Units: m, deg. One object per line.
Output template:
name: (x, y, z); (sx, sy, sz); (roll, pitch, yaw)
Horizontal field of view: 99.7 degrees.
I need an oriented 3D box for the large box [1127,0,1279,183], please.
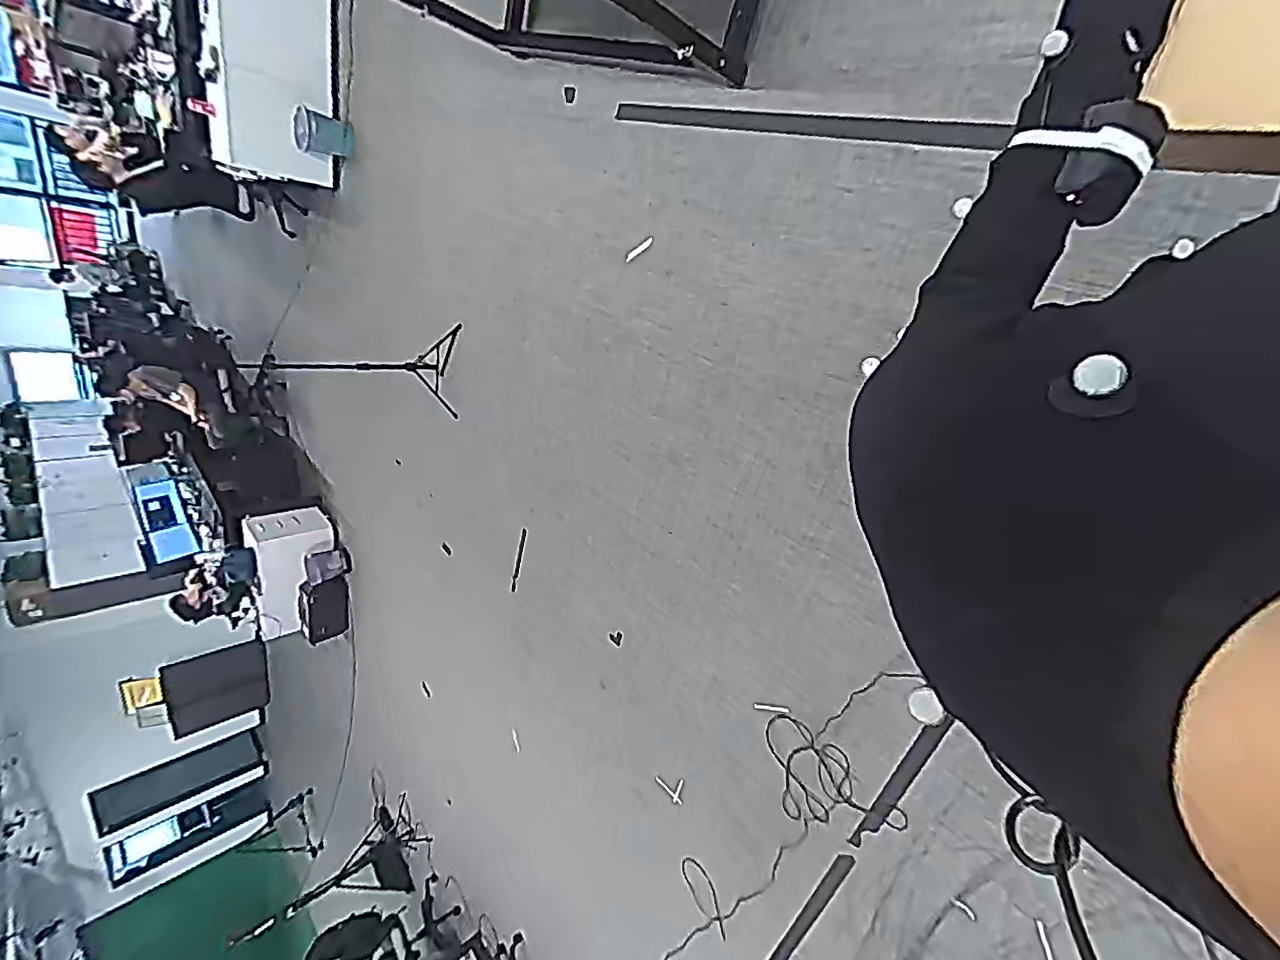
large box: (0.623, -0.369, 0.338); (0.408, 0.320, 0.320); (26, 125, 33)
